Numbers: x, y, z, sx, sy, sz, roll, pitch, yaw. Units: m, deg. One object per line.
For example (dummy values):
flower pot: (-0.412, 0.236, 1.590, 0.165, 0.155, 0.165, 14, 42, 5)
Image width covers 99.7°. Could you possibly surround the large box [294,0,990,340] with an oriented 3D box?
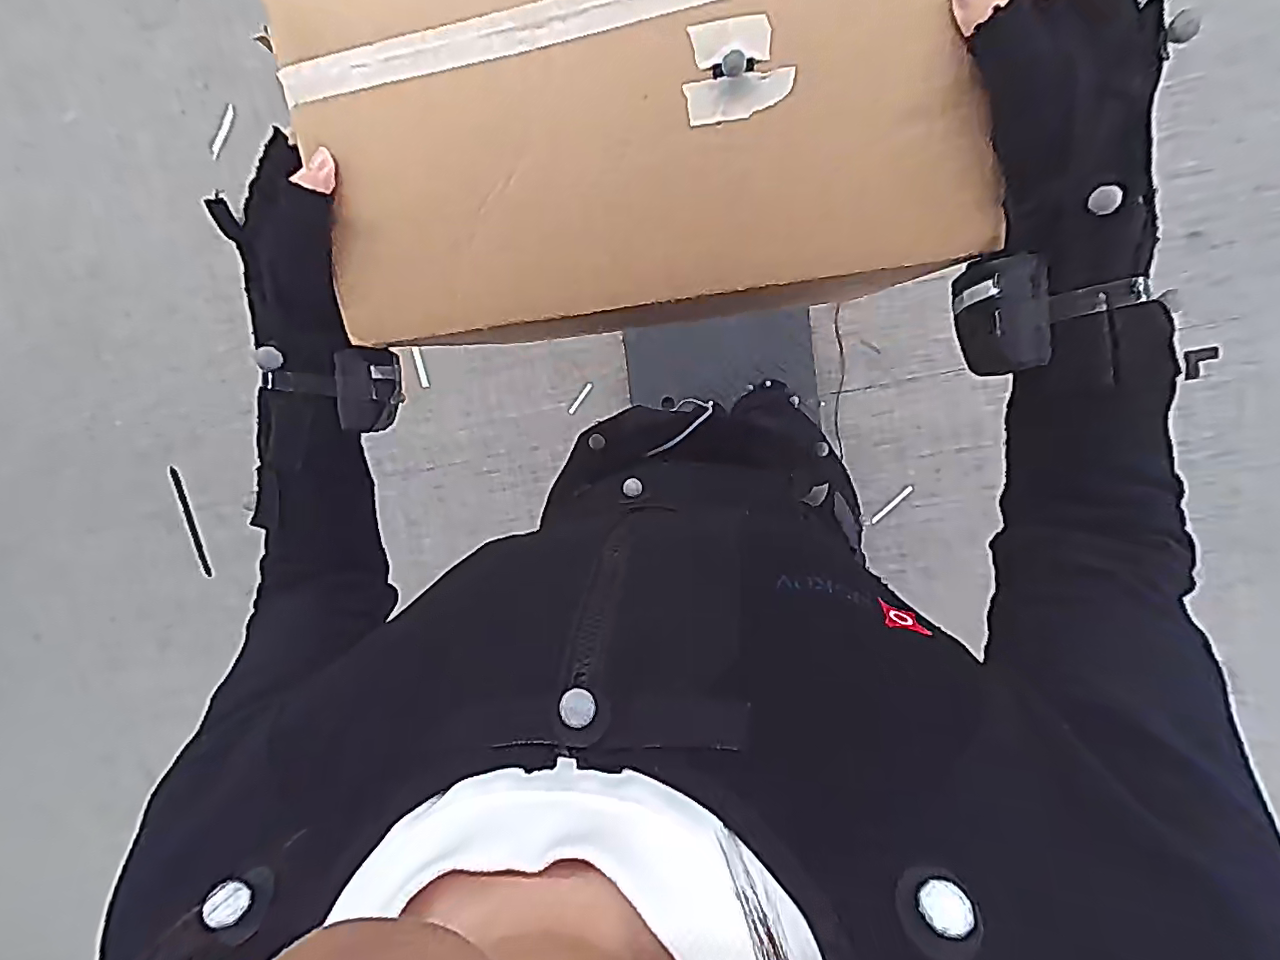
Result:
large box: (0.005, -0.305, 0.455, 0.408, 0.320, 0.320, -6, 104, 10)
